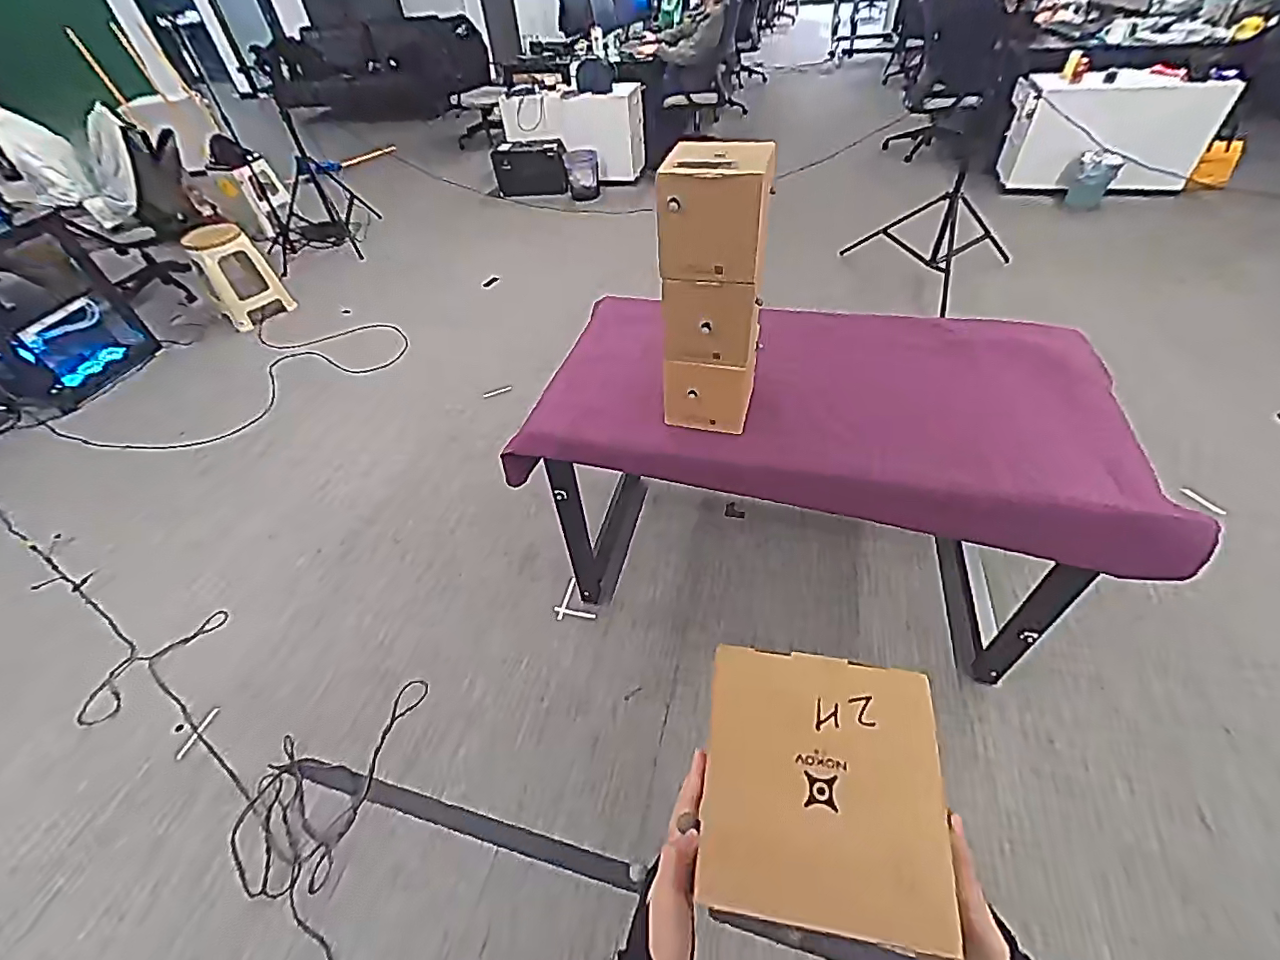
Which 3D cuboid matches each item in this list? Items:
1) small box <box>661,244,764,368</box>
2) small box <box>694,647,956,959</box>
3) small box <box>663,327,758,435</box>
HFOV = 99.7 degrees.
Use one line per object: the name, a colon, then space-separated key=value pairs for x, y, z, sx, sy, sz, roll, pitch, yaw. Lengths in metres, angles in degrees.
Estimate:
small box: x=0.142 y=-0.334 z=1.041 sx=0.168 sy=0.176 sz=0.179 roll=8 pitch=47 yaw=12
small box: x=0.138 y=0.264 z=0.458 sx=0.168 sy=0.176 sz=0.179 roll=6 pitch=55 yaw=9
small box: x=0.152 y=-0.216 z=1.154 sx=0.168 sy=0.176 sz=0.179 roll=9 pitch=47 yaw=14
